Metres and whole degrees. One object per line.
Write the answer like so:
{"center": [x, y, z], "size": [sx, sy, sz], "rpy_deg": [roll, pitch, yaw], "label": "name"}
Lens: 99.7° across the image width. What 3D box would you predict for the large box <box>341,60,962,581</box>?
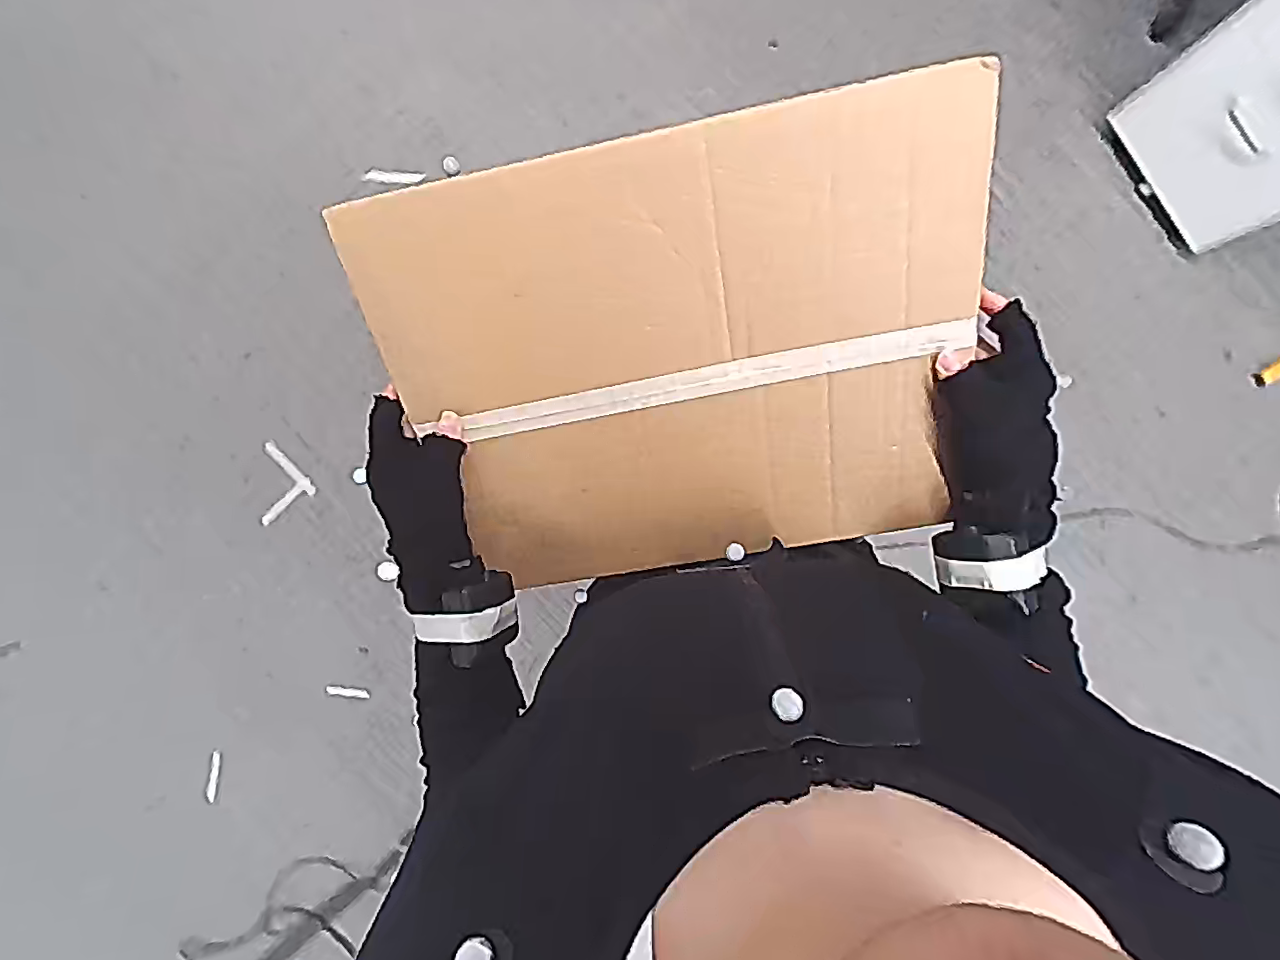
{"center": [0.024, -0.145, 0.533], "size": [0.408, 0.320, 0.320], "rpy_deg": [-11, 119, 5], "label": "large box"}
